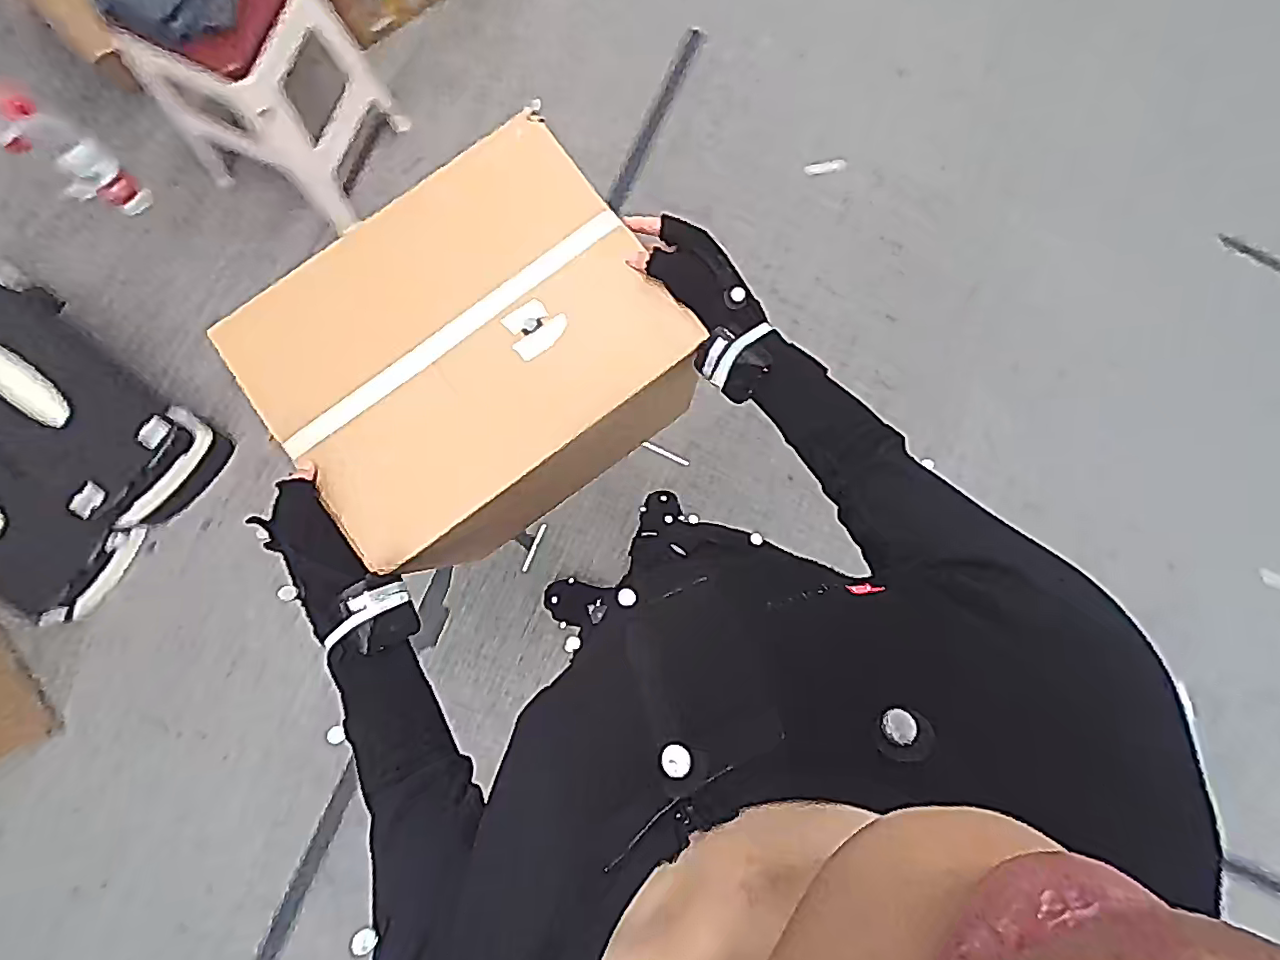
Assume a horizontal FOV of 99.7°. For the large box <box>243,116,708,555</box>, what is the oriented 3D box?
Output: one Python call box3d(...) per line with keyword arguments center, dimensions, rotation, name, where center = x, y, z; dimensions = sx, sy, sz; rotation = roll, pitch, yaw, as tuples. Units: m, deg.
box3d(center=(-0.172, -0.142, 0.709), dimensions=(0.408, 0.320, 0.320), rotation=(-36, 85, -3), name="large box")
